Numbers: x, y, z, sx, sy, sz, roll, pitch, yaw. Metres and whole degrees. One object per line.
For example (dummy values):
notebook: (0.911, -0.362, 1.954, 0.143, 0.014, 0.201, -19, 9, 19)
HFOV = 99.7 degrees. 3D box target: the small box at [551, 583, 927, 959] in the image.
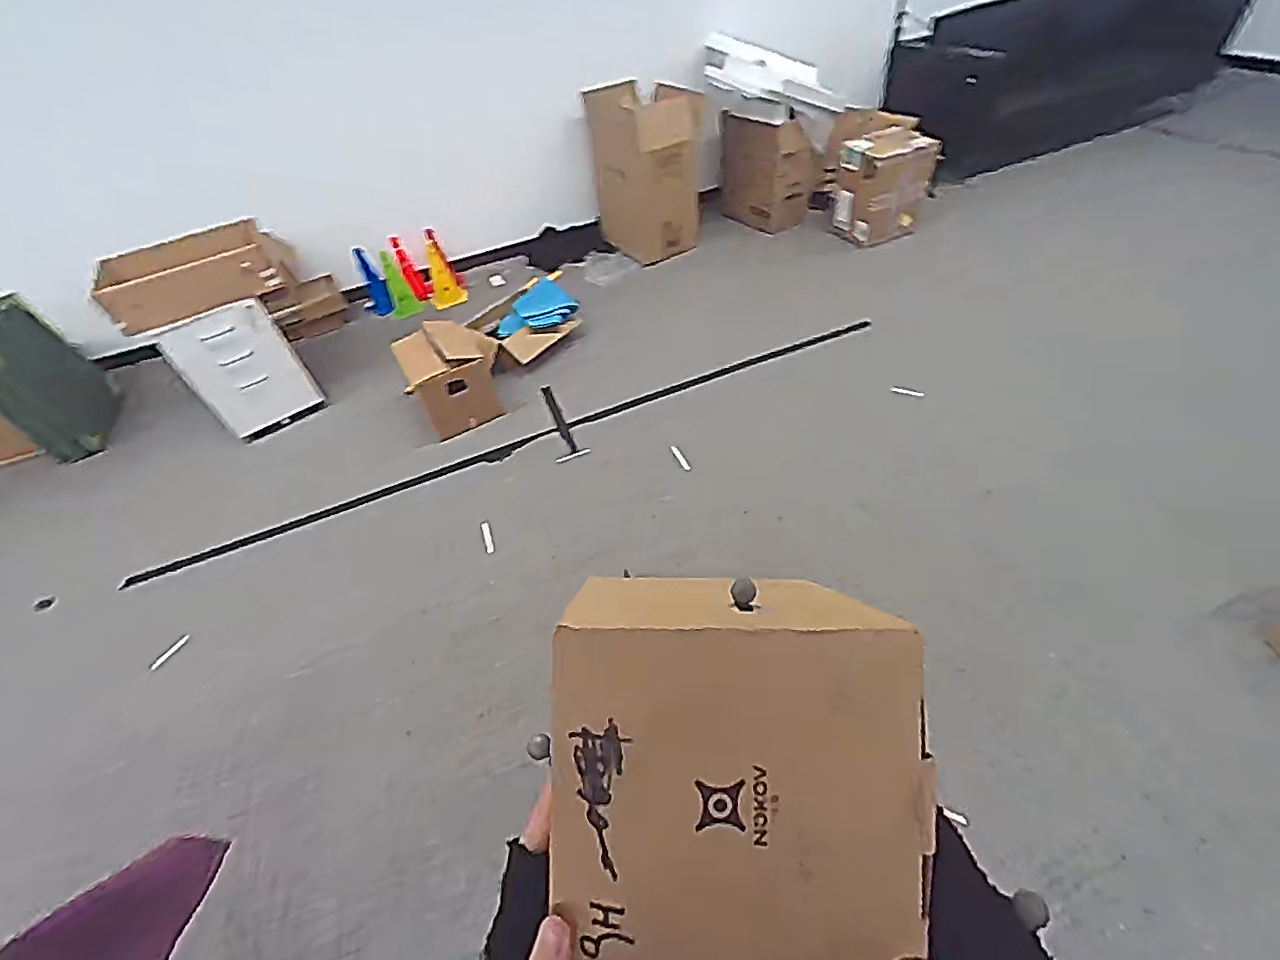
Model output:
small box: (0.046, 0.157, 0.332, 0.179, 0.176, 0.168, 1, 87, 0)
